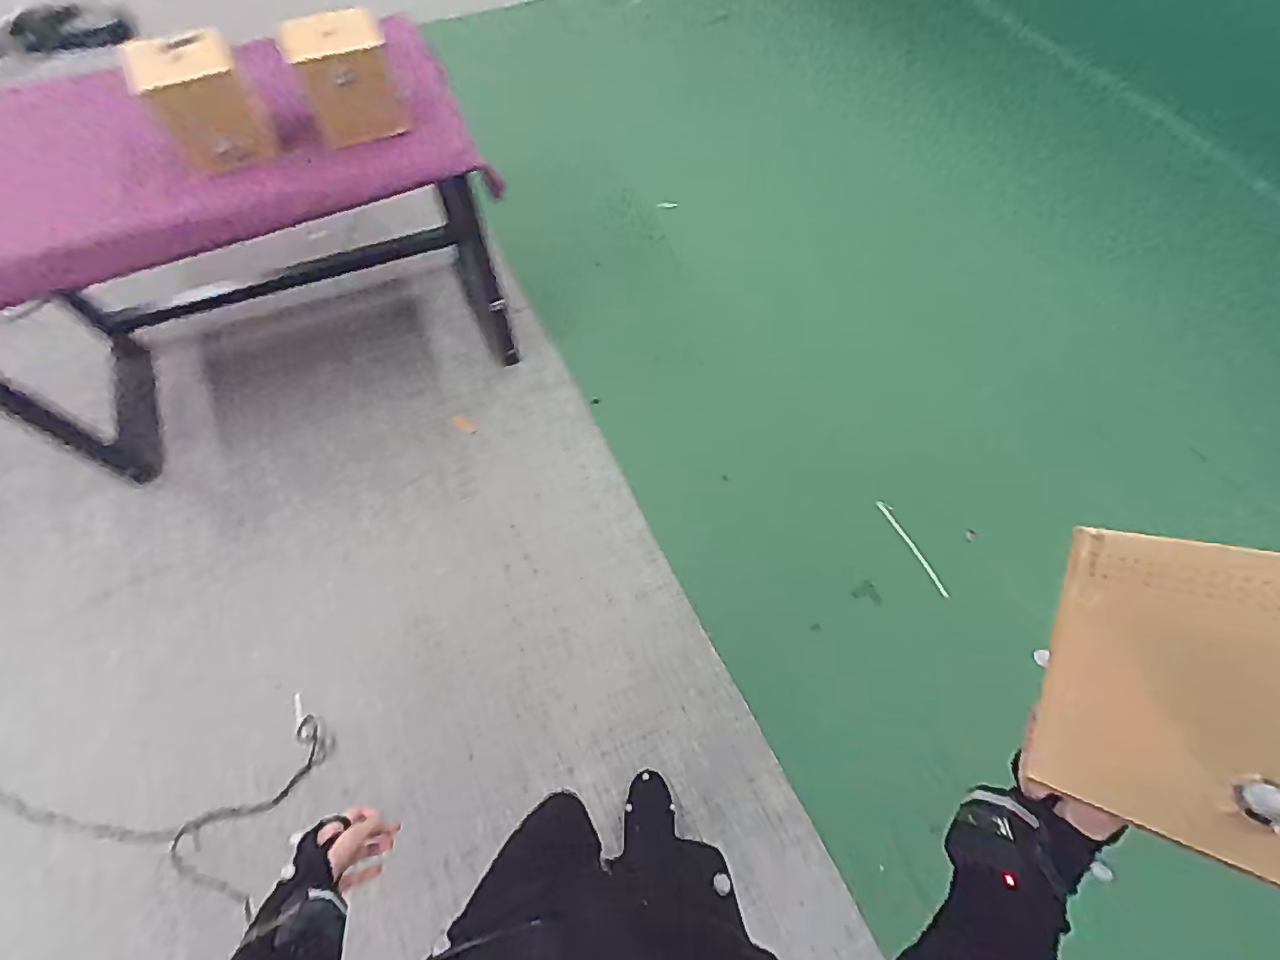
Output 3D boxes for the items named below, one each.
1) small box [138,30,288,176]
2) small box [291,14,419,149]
[{"bbox_3d":[-0.849,-0.752,1.086,0.168,0.176,0.179,-25,67,-14],"label":"small box"},{"bbox_3d":[-0.592,-0.829,1.135,0.179,0.176,0.168,-20,64,-12],"label":"small box"}]
